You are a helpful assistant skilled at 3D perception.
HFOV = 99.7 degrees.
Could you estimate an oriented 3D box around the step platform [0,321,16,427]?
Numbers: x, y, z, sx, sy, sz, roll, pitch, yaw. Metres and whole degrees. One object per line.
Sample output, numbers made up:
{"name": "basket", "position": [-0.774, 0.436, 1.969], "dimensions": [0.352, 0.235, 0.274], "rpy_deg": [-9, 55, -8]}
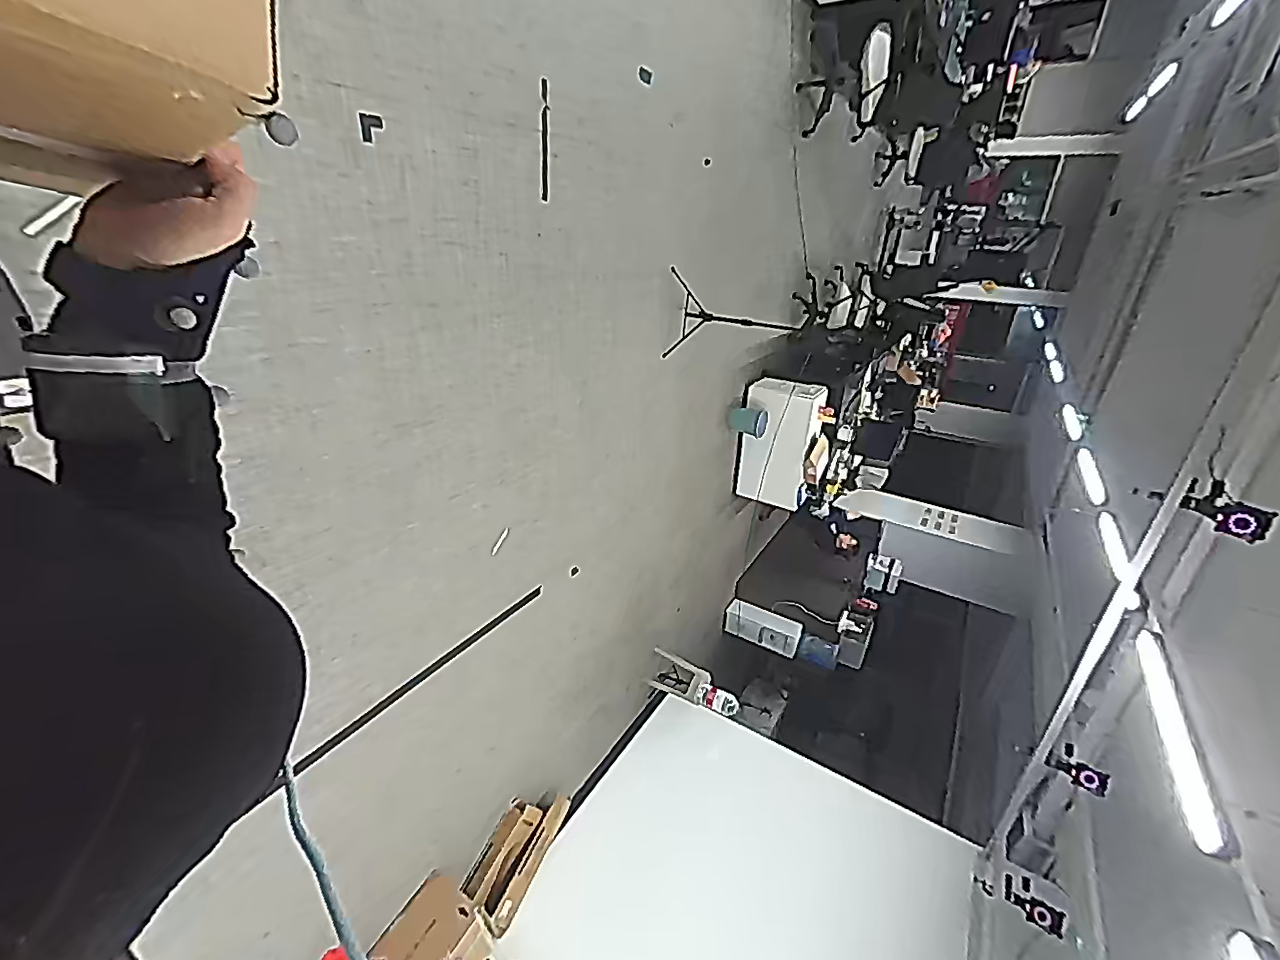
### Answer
{"name": "step platform", "position": [-1.343, -0.173, 0.711], "dimensions": [0.684, 0.204, 0.286], "rpy_deg": [-23, 125, -54]}

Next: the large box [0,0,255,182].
{"name": "large box", "position": [-0.394, -0.322, 0.134], "dimensions": [0.408, 0.320, 0.320], "rpy_deg": [-11, 110, -51]}
